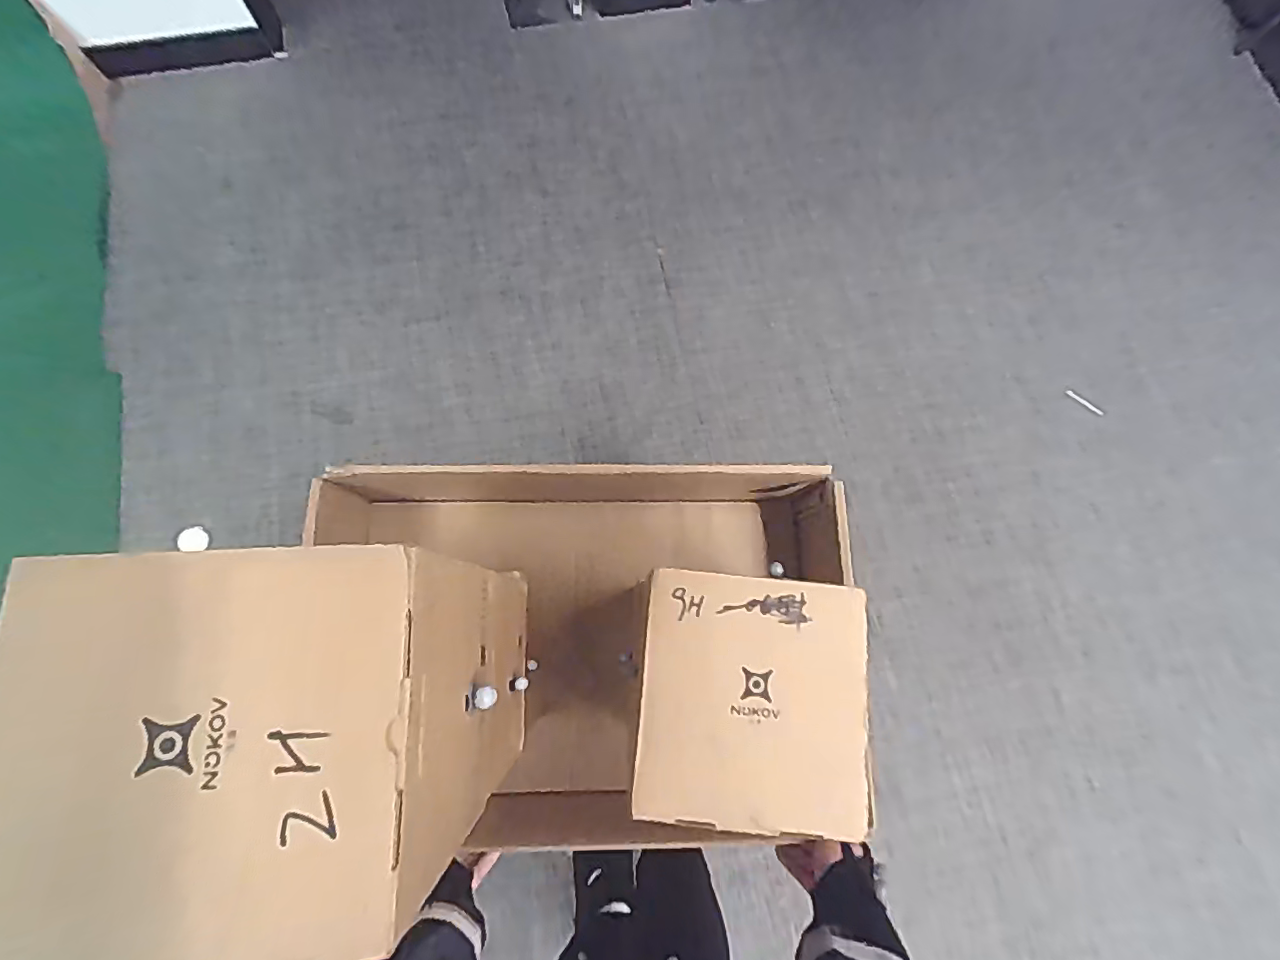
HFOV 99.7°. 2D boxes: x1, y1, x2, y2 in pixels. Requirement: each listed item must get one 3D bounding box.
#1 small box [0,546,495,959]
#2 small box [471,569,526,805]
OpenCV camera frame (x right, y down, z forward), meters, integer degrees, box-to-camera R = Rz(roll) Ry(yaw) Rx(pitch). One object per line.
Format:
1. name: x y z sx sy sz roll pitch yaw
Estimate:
1. small box: -0.190 0.130 0.307 0.179 0.176 0.168 -1 77 -4
2. small box: -0.201 0.167 0.467 0.179 0.176 0.168 -1 76 -4
